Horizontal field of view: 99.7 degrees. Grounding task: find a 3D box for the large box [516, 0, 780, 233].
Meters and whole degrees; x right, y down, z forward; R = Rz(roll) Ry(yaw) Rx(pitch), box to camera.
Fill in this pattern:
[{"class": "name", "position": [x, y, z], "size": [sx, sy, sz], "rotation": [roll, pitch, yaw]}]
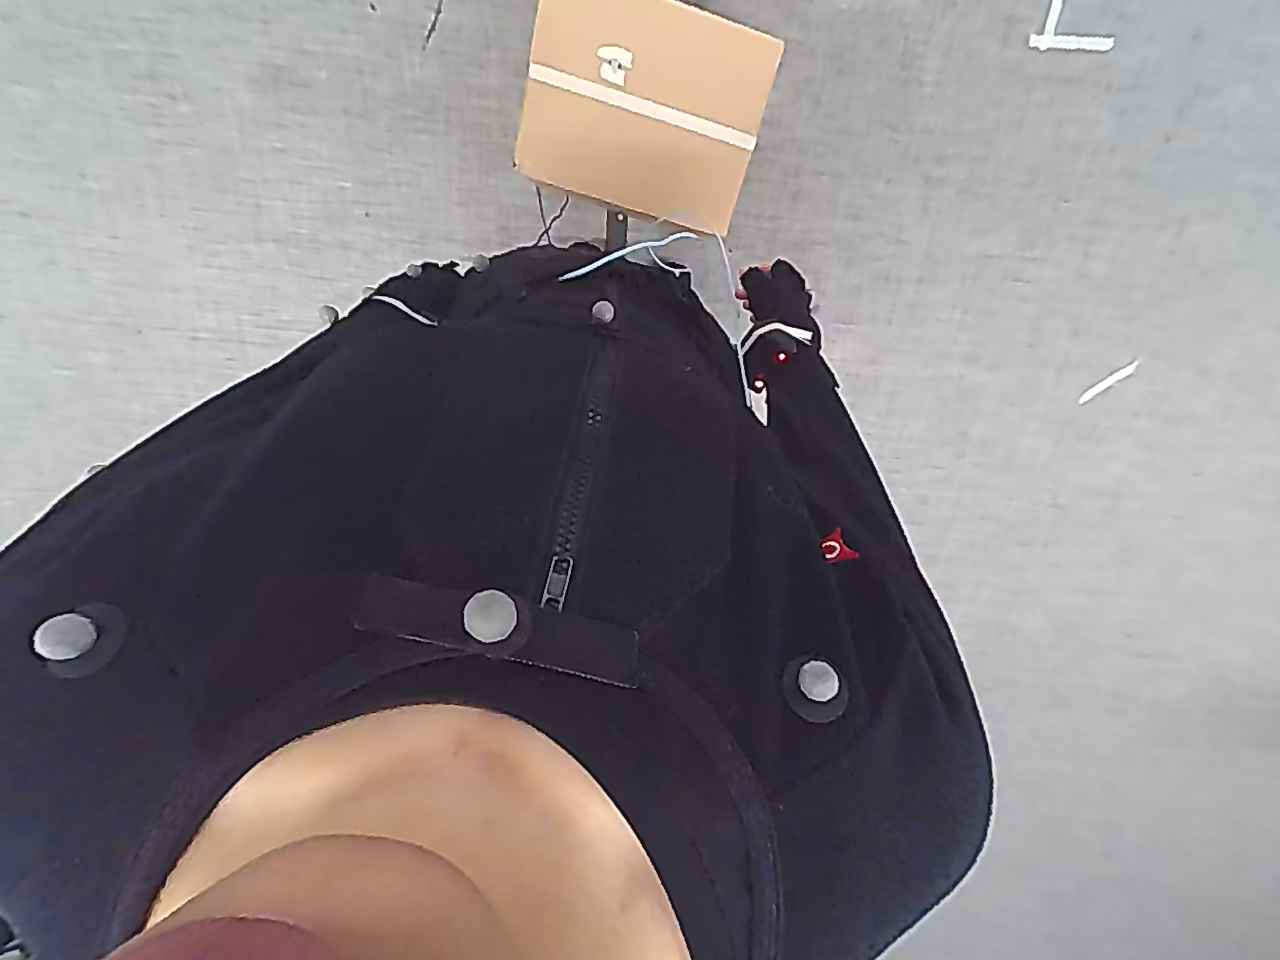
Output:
[{"class": "large box", "position": [0.006, -0.704, 1.071], "size": [0.408, 0.320, 0.320], "rotation": [15, 112, -7]}]
